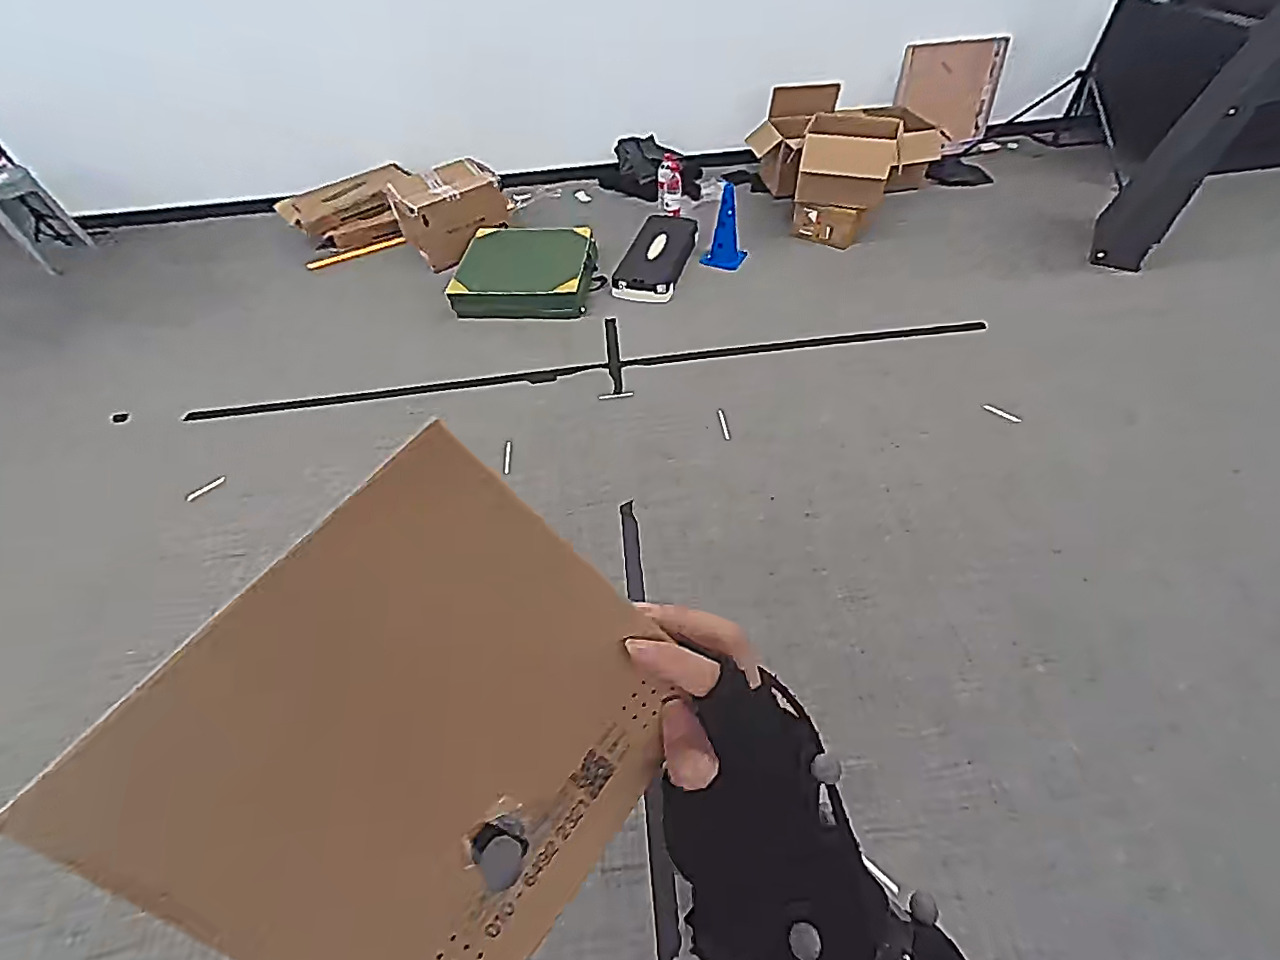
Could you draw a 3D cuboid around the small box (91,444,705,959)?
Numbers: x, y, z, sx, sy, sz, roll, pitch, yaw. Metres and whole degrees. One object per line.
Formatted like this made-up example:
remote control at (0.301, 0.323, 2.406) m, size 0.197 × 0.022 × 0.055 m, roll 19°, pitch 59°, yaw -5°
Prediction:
small box at (-0.101, 0.105, 0.290) m, size 0.176 × 0.179 × 0.168 m, roll 46°, pitch 69°, yaw -15°
